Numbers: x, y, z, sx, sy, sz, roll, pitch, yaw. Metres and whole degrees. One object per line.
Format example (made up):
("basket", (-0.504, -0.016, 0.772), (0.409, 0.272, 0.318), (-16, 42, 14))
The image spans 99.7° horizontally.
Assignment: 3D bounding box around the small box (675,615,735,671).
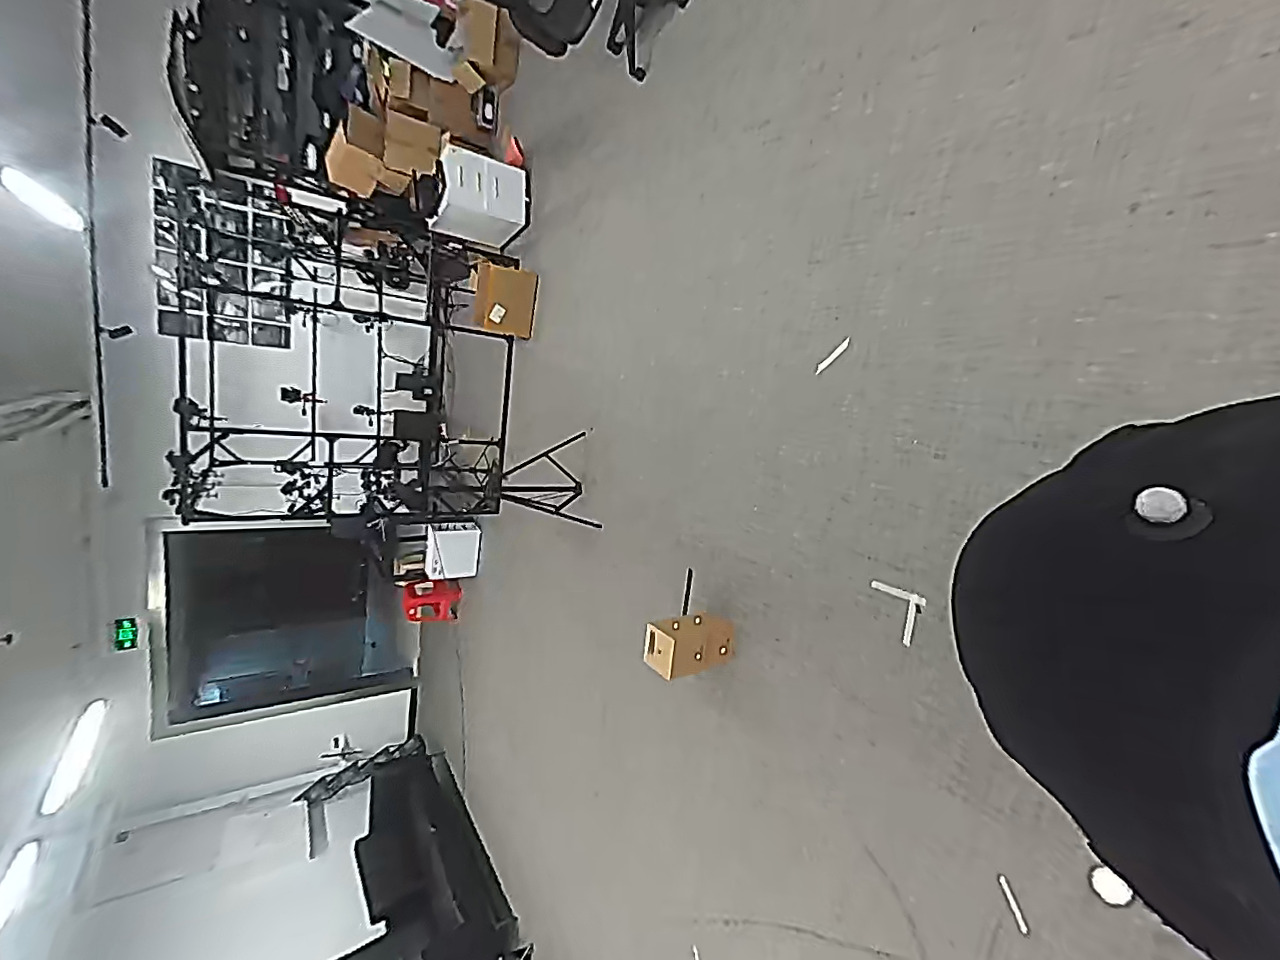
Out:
("small box", (0.265, 0.661, 2.217), (0.179, 0.176, 0.168), (12, 99, 55))
